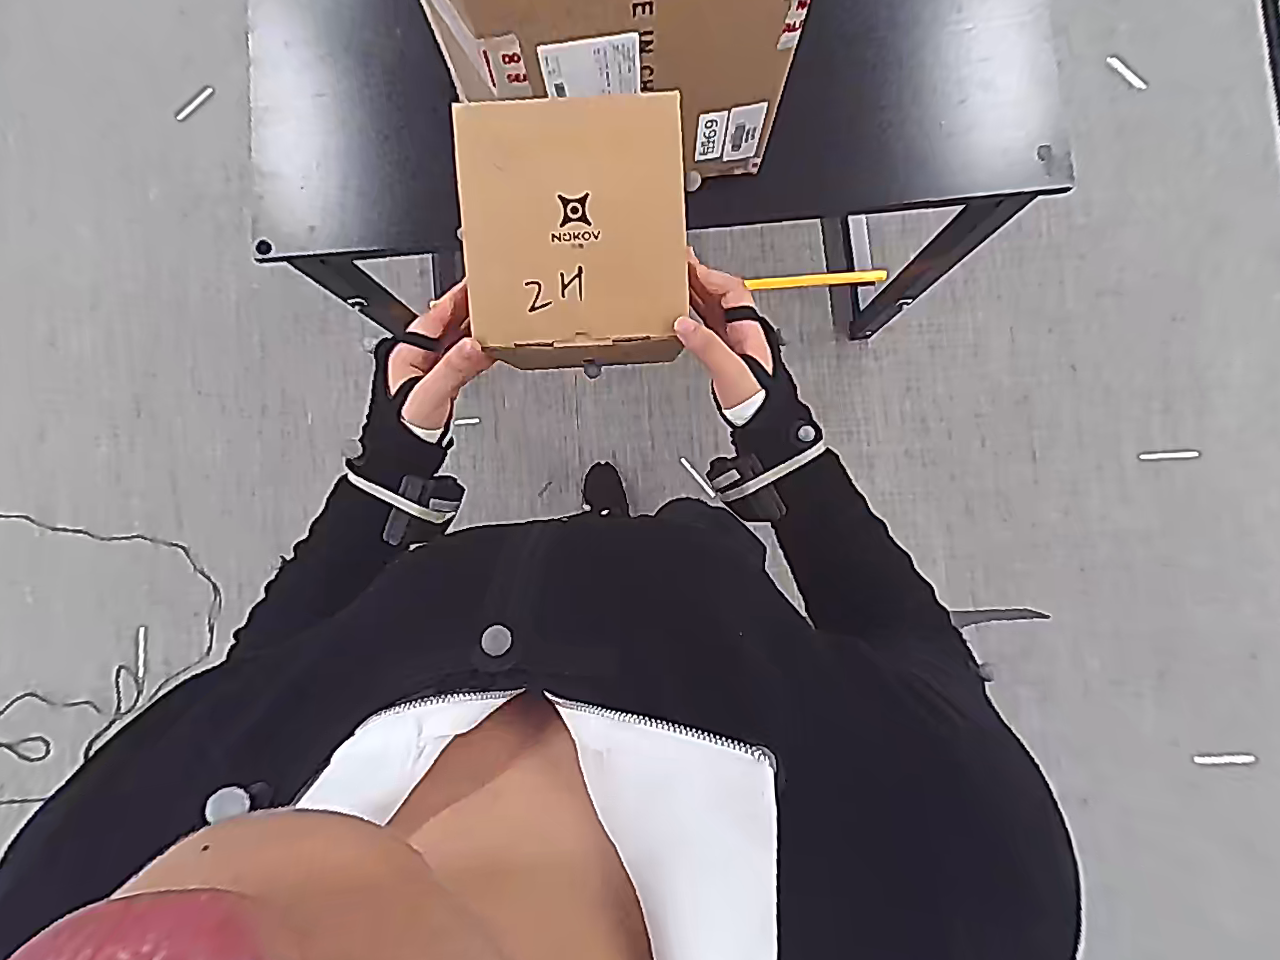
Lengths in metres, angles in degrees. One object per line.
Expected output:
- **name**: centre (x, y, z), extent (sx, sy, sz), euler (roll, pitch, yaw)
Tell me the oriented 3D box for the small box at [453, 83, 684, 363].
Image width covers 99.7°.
- **small box**: centre (-0.052, -0.205, 0.478), extent (0.168, 0.176, 0.179), euler (-3, 95, 0)
